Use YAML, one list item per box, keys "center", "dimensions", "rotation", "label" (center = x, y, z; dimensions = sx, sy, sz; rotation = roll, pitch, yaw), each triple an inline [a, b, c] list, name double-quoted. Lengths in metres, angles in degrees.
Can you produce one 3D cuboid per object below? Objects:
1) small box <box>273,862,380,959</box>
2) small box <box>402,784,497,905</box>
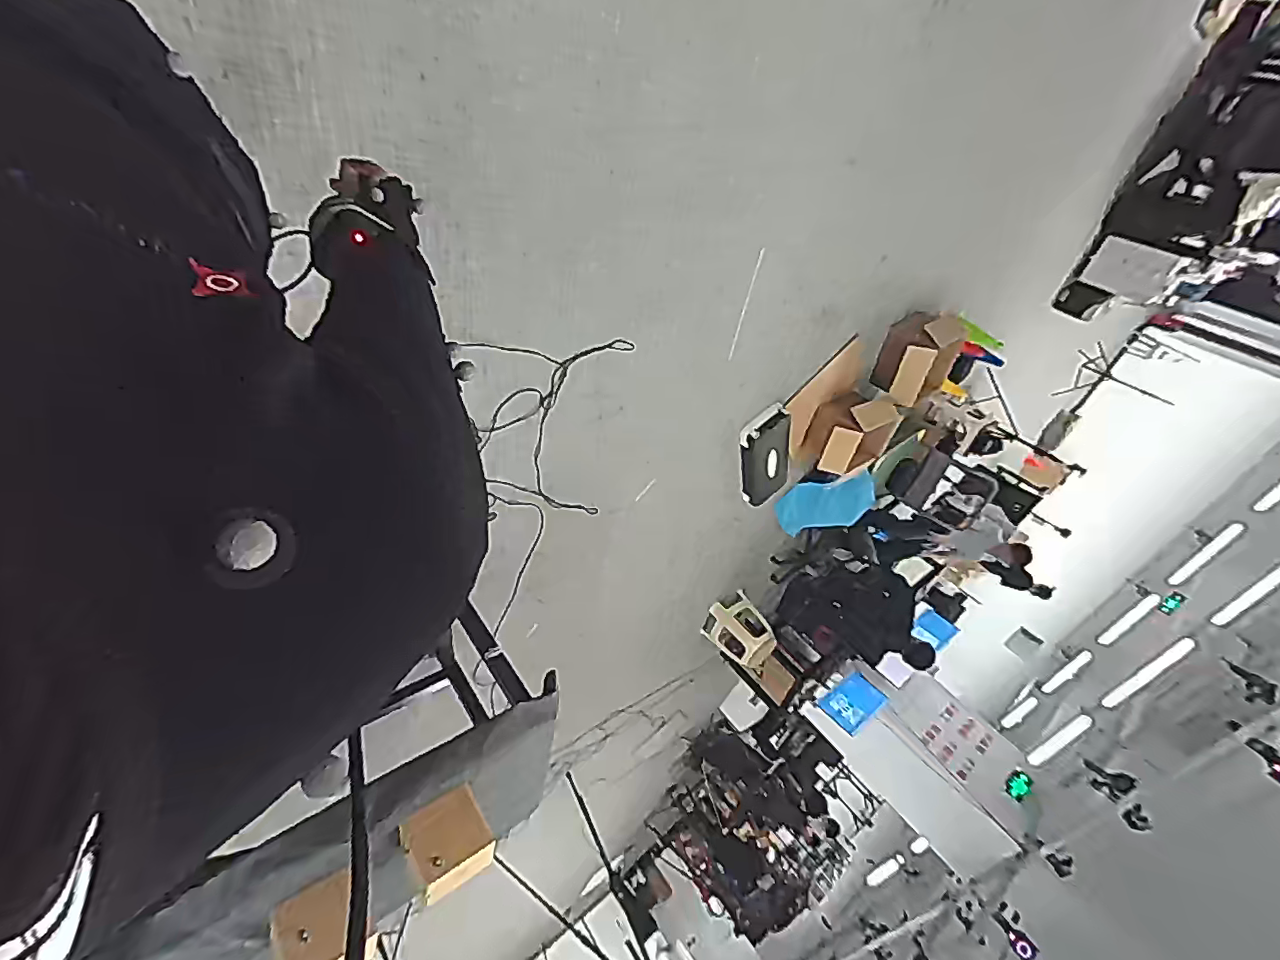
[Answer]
- center: [-0.723, 1.035, 1.239]
  dimensions: [0.179, 0.176, 0.168]
  rotation: [-10, 134, -44]
  label: "small box"
- center: [-0.487, 0.919, 1.377]
  dimensions: [0.179, 0.176, 0.168]
  rotation: [-17, 138, -36]
  label: "small box"
